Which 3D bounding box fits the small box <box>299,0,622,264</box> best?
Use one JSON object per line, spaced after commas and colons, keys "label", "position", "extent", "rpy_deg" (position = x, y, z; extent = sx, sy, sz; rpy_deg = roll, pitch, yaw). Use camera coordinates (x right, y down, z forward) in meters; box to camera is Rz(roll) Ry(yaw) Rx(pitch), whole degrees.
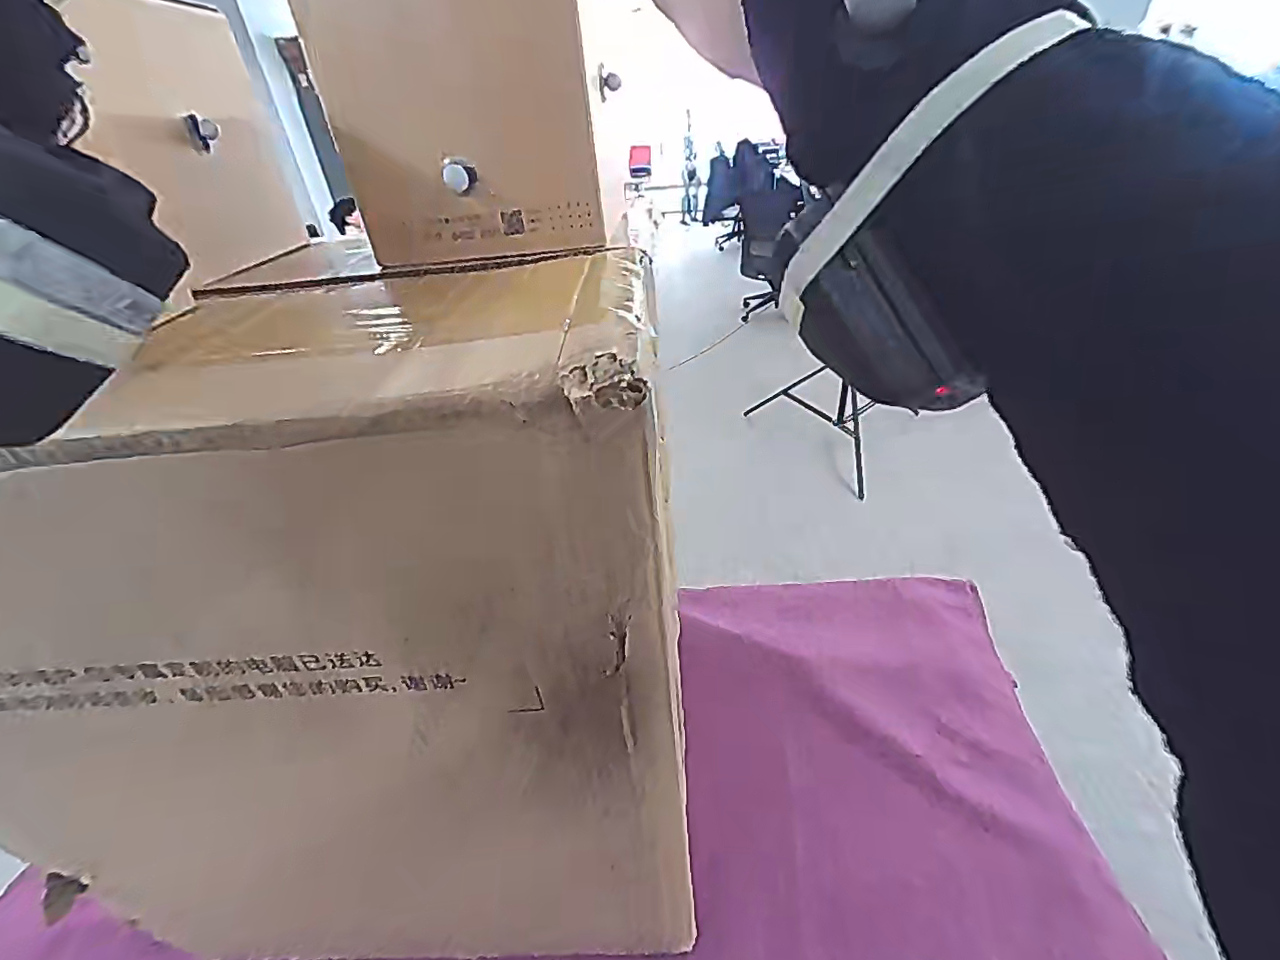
{"label": "small box", "position": [-0.107, -0.267, 0.402], "extent": [0.168, 0.176, 0.179], "rpy_deg": [-3, 34, 6]}
